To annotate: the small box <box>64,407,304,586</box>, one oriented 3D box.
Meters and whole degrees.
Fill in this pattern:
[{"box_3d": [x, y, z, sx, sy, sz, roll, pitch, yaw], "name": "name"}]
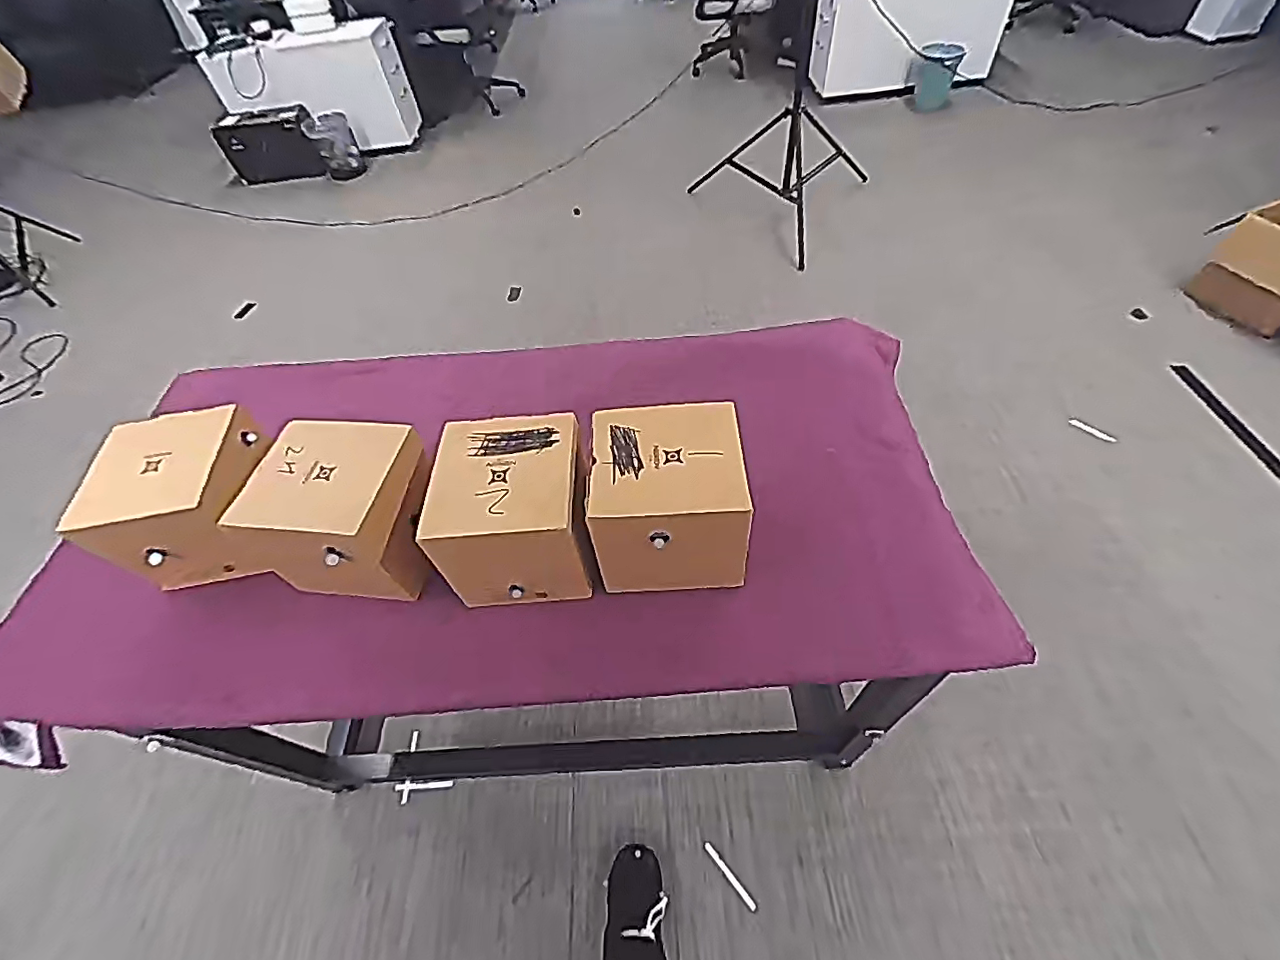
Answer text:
[{"box_3d": [-0.603, 0.031, 0.747, 0.168, 0.176, 0.179, -11, 53, -2], "name": "small box"}]
